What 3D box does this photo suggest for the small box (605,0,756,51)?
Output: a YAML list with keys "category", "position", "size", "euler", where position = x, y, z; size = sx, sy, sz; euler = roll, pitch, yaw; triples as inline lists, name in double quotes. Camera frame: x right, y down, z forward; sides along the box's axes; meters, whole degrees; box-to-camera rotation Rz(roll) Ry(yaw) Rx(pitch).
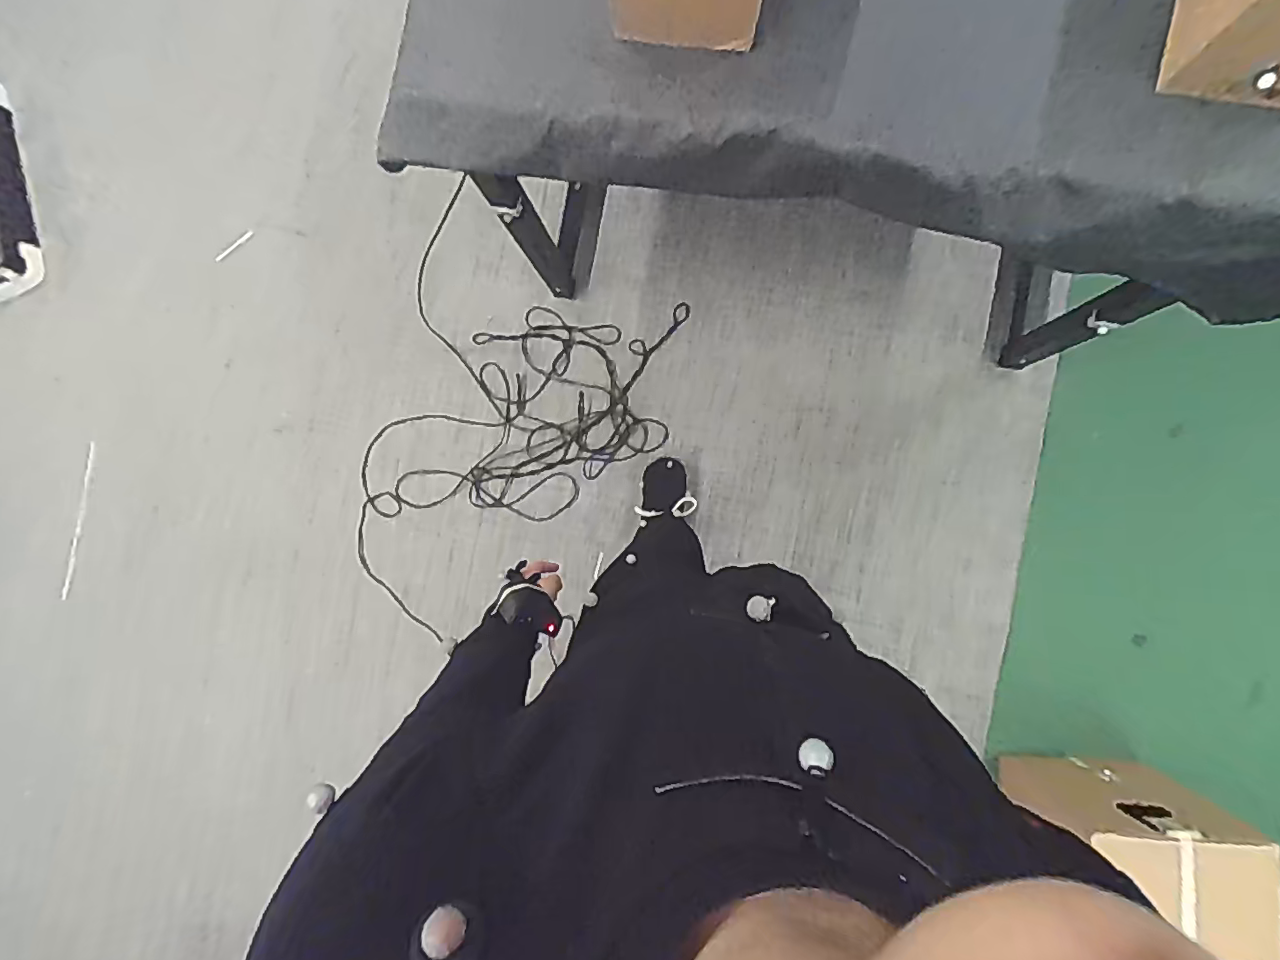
- category: "small box"
  position: [0.052, -0.619, 0.592]
  size: [0.179, 0.176, 0.168]
  euler: [11, 89, 5]
